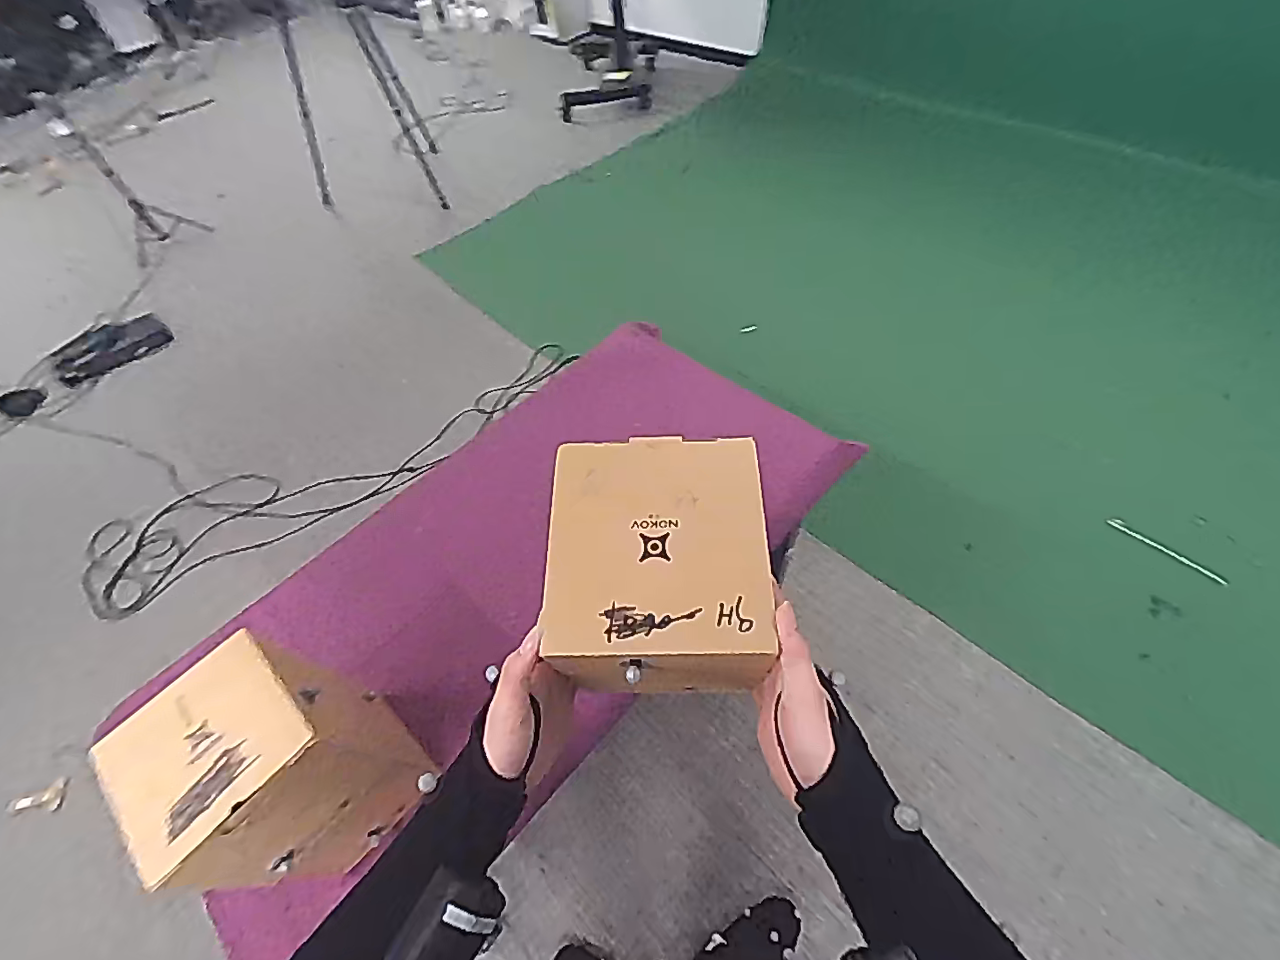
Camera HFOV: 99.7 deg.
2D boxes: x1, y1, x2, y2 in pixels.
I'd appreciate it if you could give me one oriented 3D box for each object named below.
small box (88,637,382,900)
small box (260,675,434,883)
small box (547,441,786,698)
[{"bbox_3d":[-0.426,0.312,0.596,0.179,0.176,0.168,33,64,28],"label":"small box"},{"bbox_3d":[-0.418,0.404,0.732,0.179,0.176,0.168,34,65,26],"label":"small box"},{"bbox_3d":[0.026,0.084,0.476,0.168,0.176,0.179,-1,60,5],"label":"small box"}]
